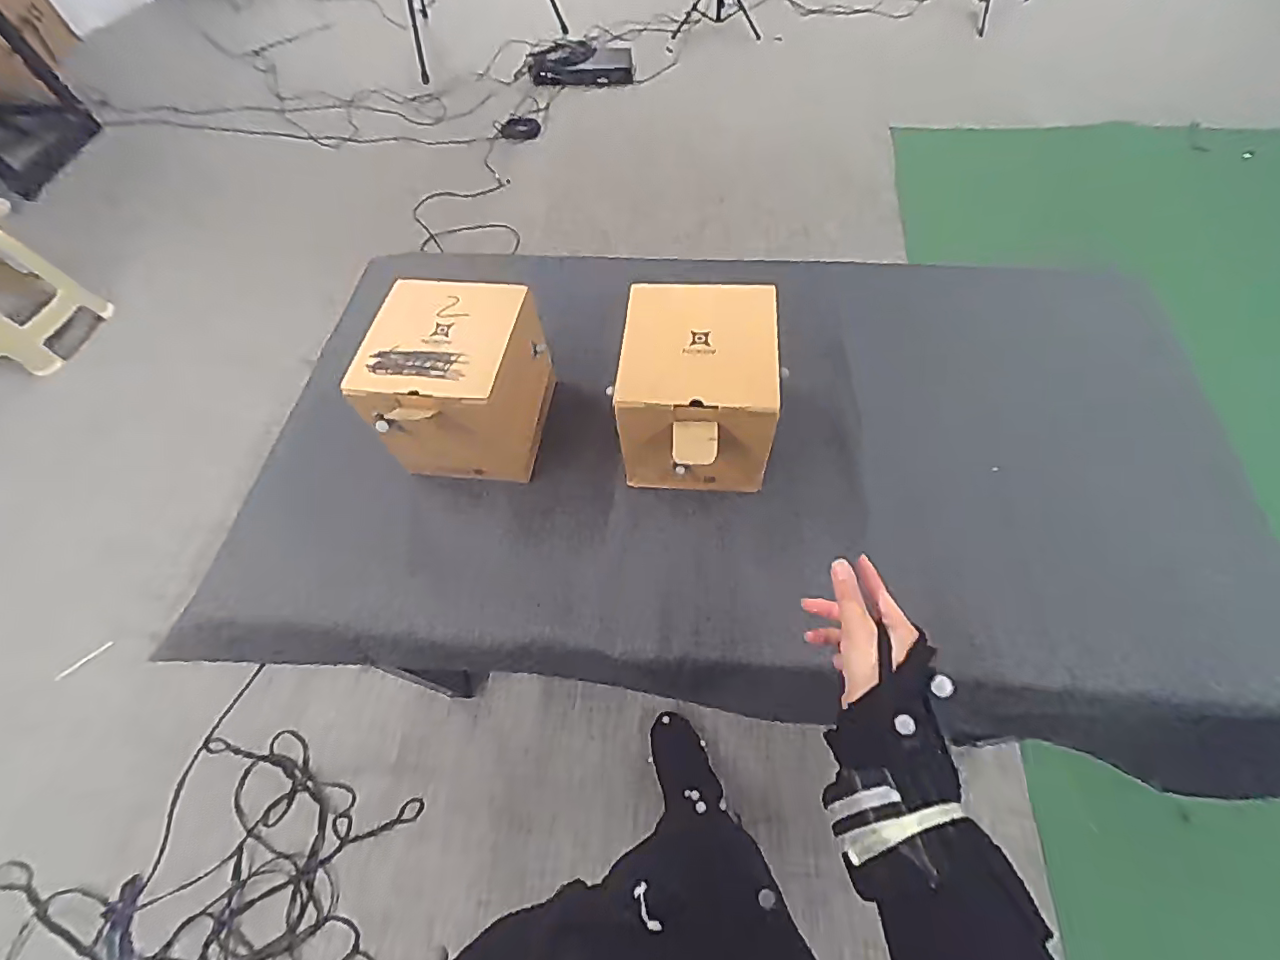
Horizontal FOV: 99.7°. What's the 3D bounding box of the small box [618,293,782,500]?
[{"bbox_3d":[0.070,-0.095,0.642,0.168,0.176,0.179,3,60,6],"label":"small box"}]
